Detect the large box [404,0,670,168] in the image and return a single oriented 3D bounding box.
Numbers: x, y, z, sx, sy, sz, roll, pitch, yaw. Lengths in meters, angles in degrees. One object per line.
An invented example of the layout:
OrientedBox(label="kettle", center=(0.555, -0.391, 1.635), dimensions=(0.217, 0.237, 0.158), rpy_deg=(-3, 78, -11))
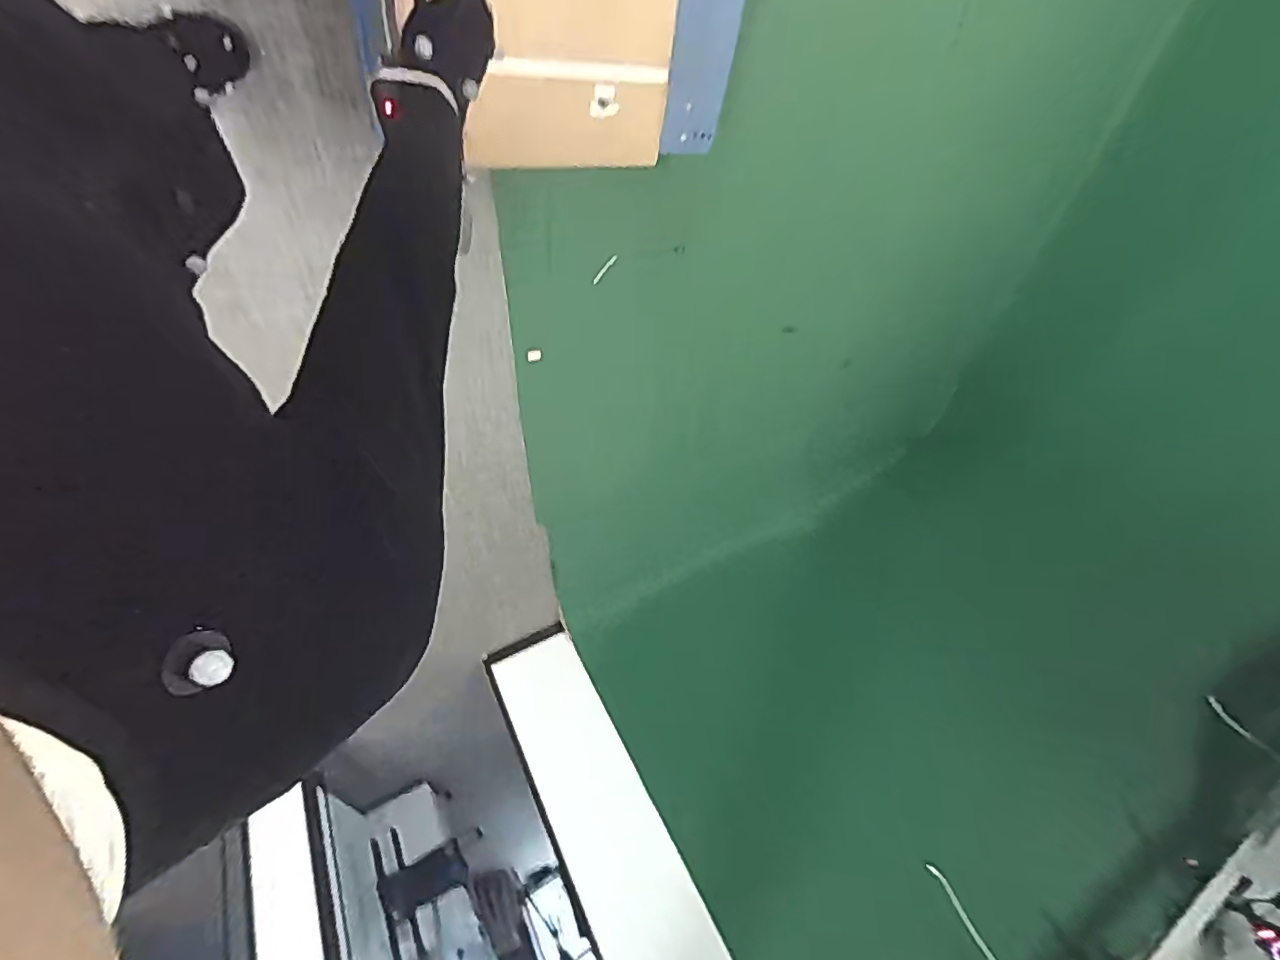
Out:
OrientedBox(label="large box", center=(-0.204, -0.825, 1.041), dimensions=(0.408, 0.320, 0.320), rpy_deg=(-18, 141, -26))
